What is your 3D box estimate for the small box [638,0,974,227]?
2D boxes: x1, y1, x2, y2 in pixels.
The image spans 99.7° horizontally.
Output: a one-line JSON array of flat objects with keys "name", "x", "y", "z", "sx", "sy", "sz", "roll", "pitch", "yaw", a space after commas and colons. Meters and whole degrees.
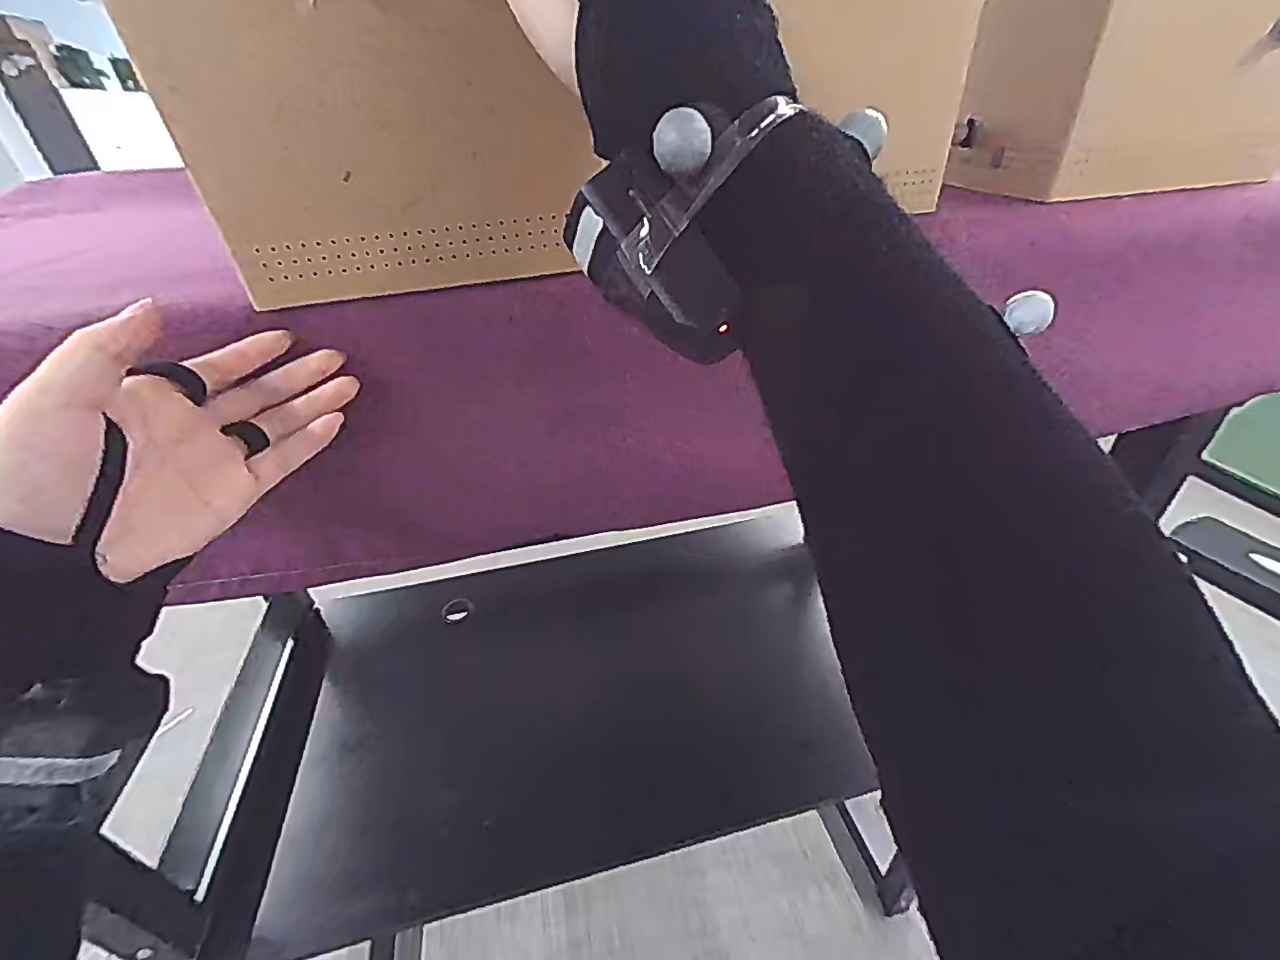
[{"name": "small box", "x": 0.099, "y": -0.277, "z": 0.370, "sx": 0.168, "sy": 0.176, "sz": 0.179, "roll": -10, "pitch": 34, "yaw": -9}]

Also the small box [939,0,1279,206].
[{"name": "small box", "x": 0.347, "y": -0.307, "z": 0.392, "sx": 0.179, "sy": 0.176, "sz": 0.168, "roll": -8, "pitch": 34, "yaw": -5}]

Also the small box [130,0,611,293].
[{"name": "small box", "x": -0.119, "y": -0.207, "z": 0.275, "sx": 0.179, "sy": 0.176, "sz": 0.168, "roll": -11, "pitch": 41, "yaw": -11}]
